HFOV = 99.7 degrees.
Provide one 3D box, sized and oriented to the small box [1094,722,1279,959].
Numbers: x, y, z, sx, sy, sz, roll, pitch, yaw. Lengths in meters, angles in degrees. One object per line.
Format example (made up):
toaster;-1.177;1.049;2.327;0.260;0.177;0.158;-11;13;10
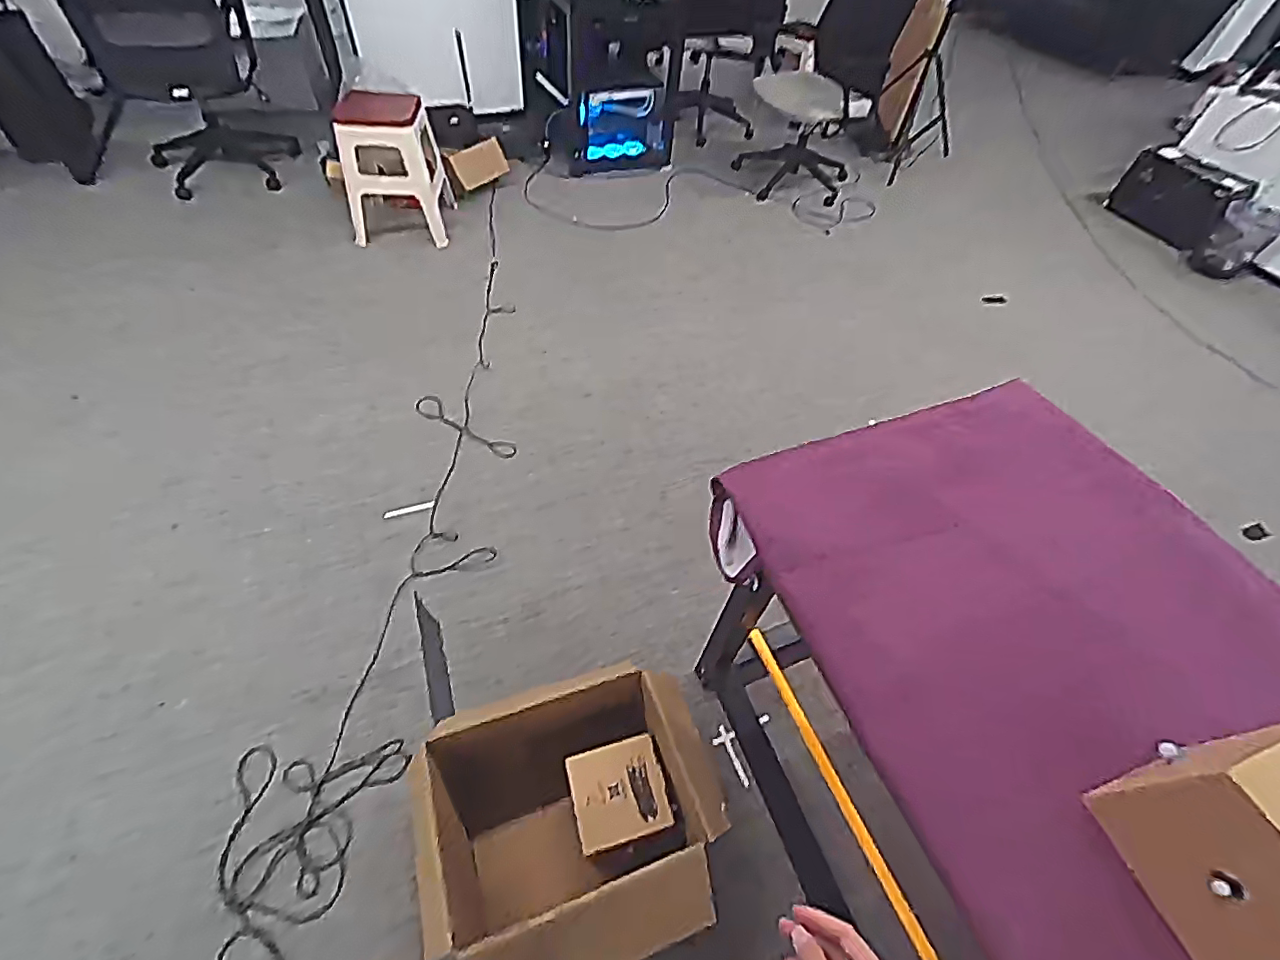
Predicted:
small box;0.581;0.330;0.480;0.168;0.176;0.179;-13;54;-14
